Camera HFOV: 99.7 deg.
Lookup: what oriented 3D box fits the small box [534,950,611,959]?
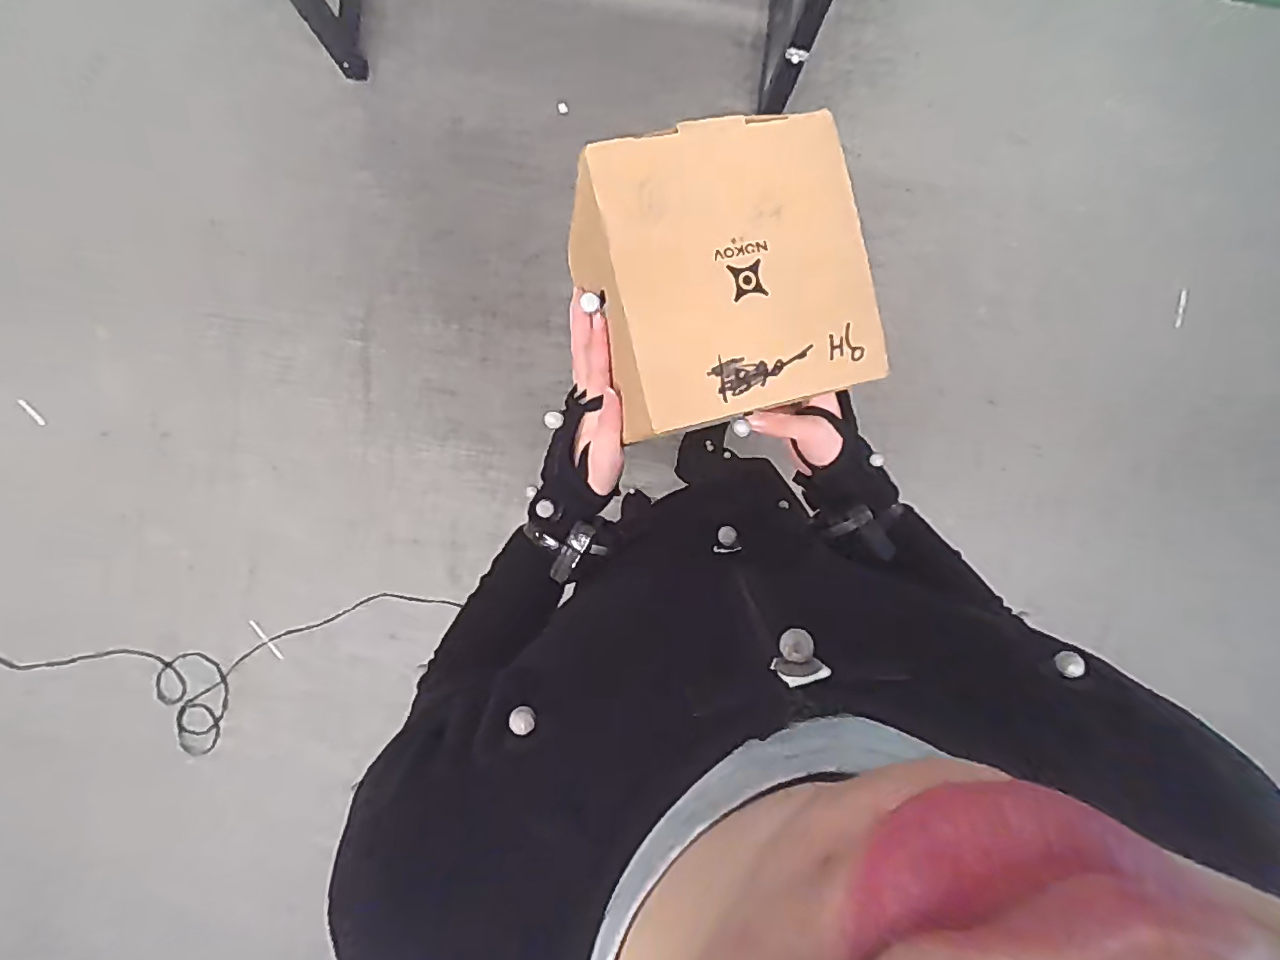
[{"bbox_3d":[-0.090,0.811,0.743,0.168,0.176,0.179,8,92,-2],"label":"small box"}]

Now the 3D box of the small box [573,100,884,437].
[{"bbox_3d":[0.048,-0.140,0.413,0.168,0.176,0.179,-15,93,-9],"label":"small box"}]
